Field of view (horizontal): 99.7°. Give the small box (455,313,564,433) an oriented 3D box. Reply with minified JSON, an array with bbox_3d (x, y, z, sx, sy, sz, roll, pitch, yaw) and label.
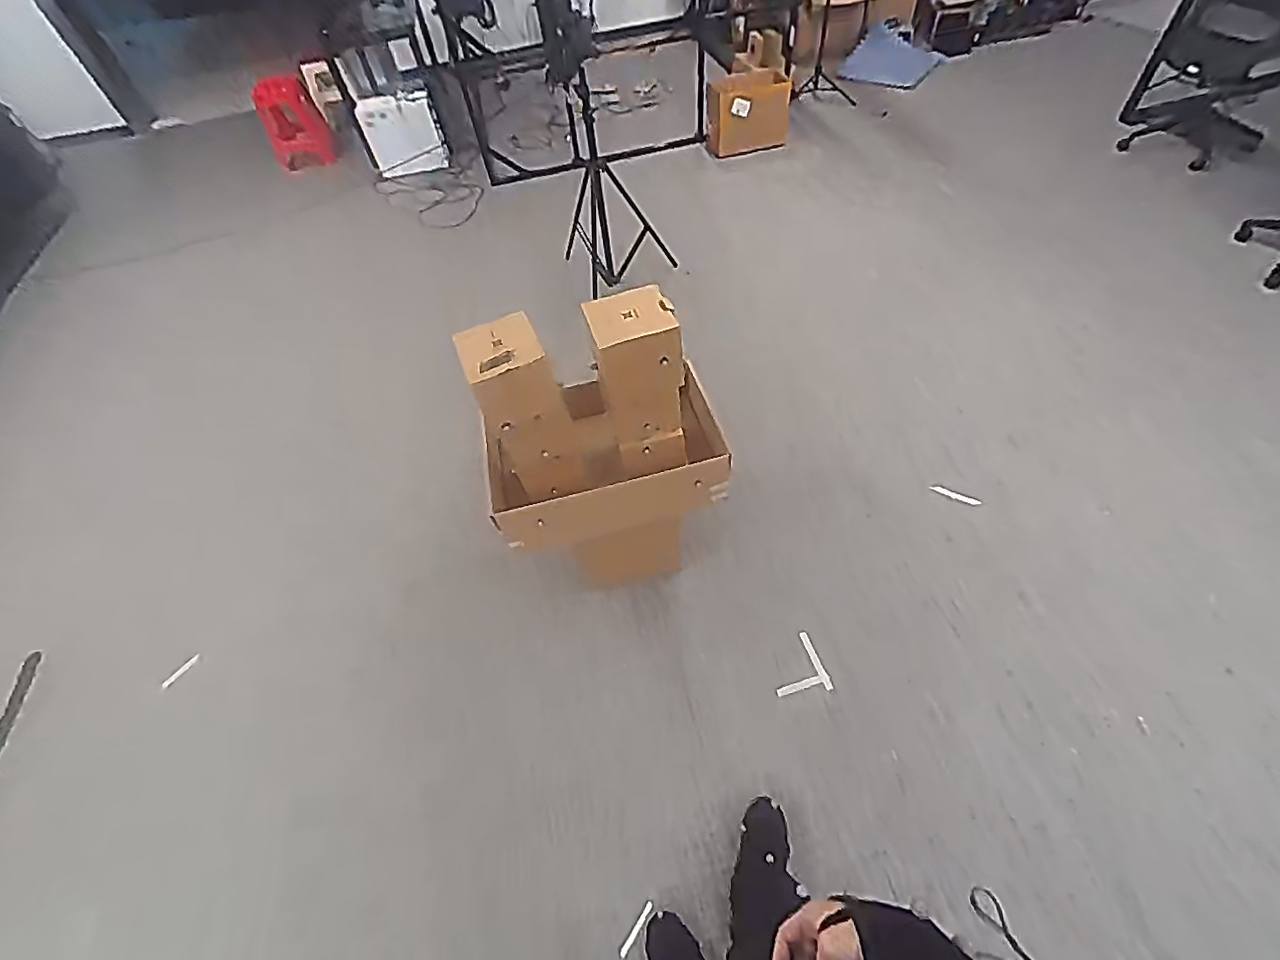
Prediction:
[{"bbox_3d":[-0.280,-0.225,1.180,0.168,0.176,0.179,-23,54,-9],"label":"small box"}]

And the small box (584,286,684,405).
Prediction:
[{"bbox_3d":[-0.011,-0.293,1.194,0.179,0.176,0.168,-17,52,-6],"label":"small box"}]

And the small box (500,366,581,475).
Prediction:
[{"bbox_3d":[-0.256,-0.144,1.322,0.168,0.176,0.179,-21,55,-7],"label":"small box"}]

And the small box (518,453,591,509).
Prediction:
[{"bbox_3d":[-0.245,-0.054,1.460,0.168,0.176,0.179,-21,54,-8],"label":"small box"}]
